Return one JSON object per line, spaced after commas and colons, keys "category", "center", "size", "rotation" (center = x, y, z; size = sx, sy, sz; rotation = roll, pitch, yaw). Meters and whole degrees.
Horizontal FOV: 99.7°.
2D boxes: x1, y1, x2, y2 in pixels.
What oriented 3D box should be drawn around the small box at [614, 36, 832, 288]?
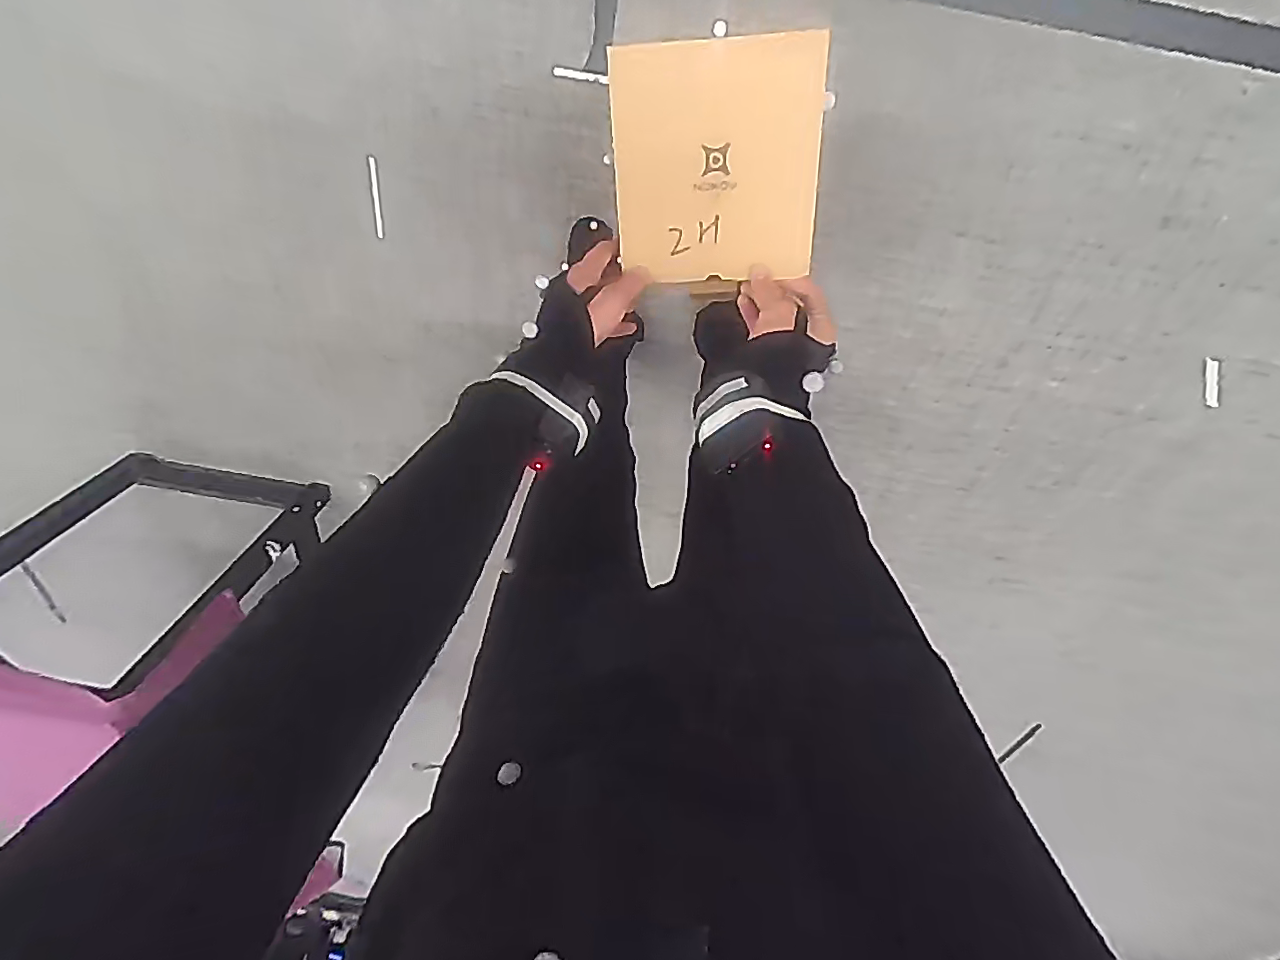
{"category": "small box", "center": [0.071, -0.296, 0.512], "size": [0.168, 0.176, 0.179], "rotation": [0, 126, 7]}
